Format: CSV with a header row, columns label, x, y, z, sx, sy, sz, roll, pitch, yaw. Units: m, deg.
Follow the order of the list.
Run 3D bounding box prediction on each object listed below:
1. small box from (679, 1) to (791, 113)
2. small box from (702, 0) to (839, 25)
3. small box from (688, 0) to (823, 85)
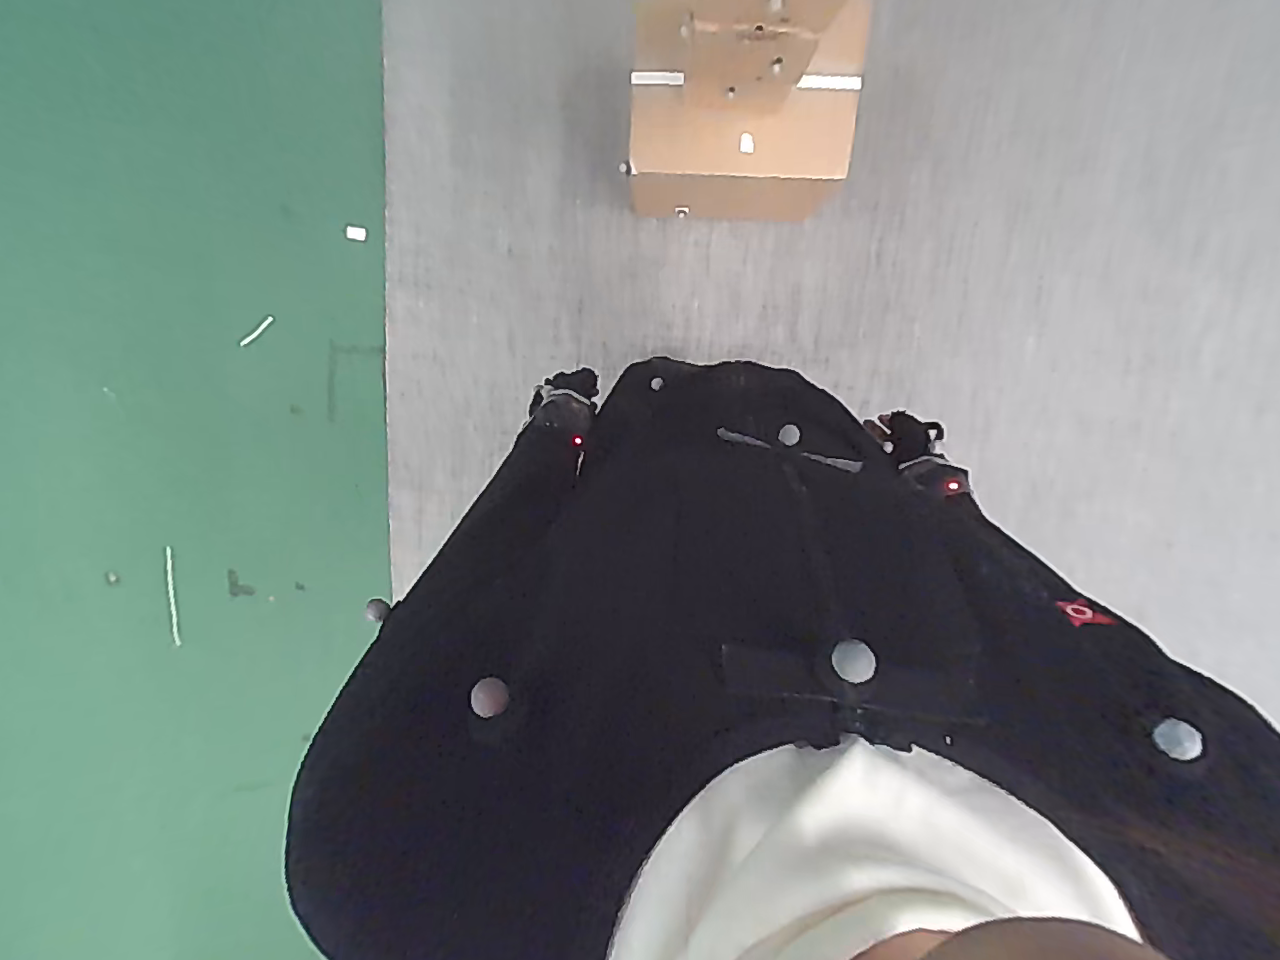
label,x,y,z,sx,sy,sz,roll,pitch,yaw
small box,0.165,-0.722,0.872,0.179,0.176,0.168,11,107,0
small box,0.153,-0.618,0.567,0.168,0.176,0.179,4,109,1
small box,0.154,-0.662,0.724,0.168,0.176,0.179,4,107,1
